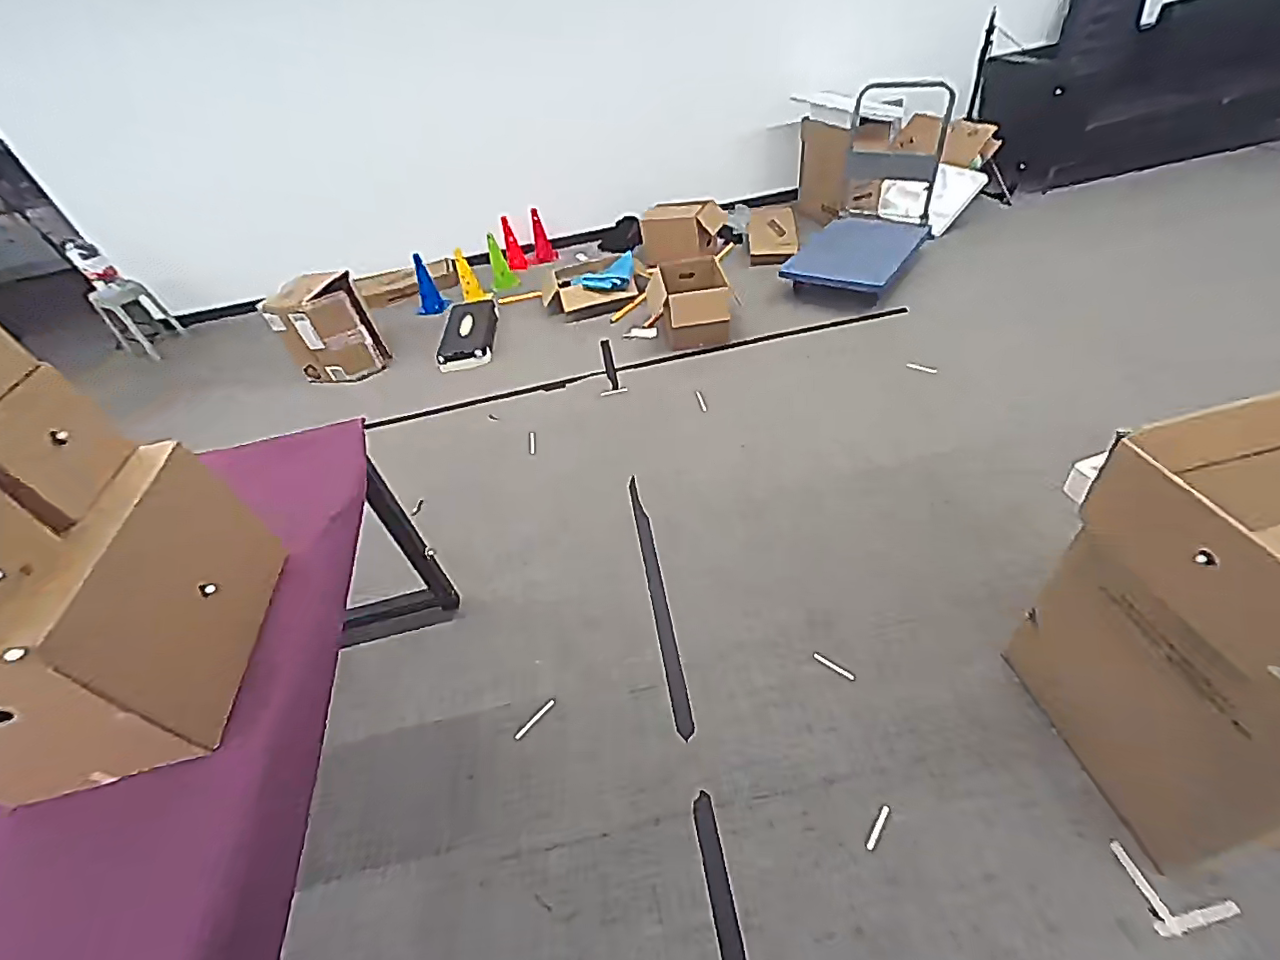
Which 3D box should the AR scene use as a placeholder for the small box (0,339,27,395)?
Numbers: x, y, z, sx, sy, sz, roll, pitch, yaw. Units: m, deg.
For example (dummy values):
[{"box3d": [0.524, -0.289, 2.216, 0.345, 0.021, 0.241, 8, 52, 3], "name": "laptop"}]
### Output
[{"box3d": [-0.920, -0.141, 0.640, 0.168, 0.176, 0.179, -13, 44, -2], "name": "small box"}]
